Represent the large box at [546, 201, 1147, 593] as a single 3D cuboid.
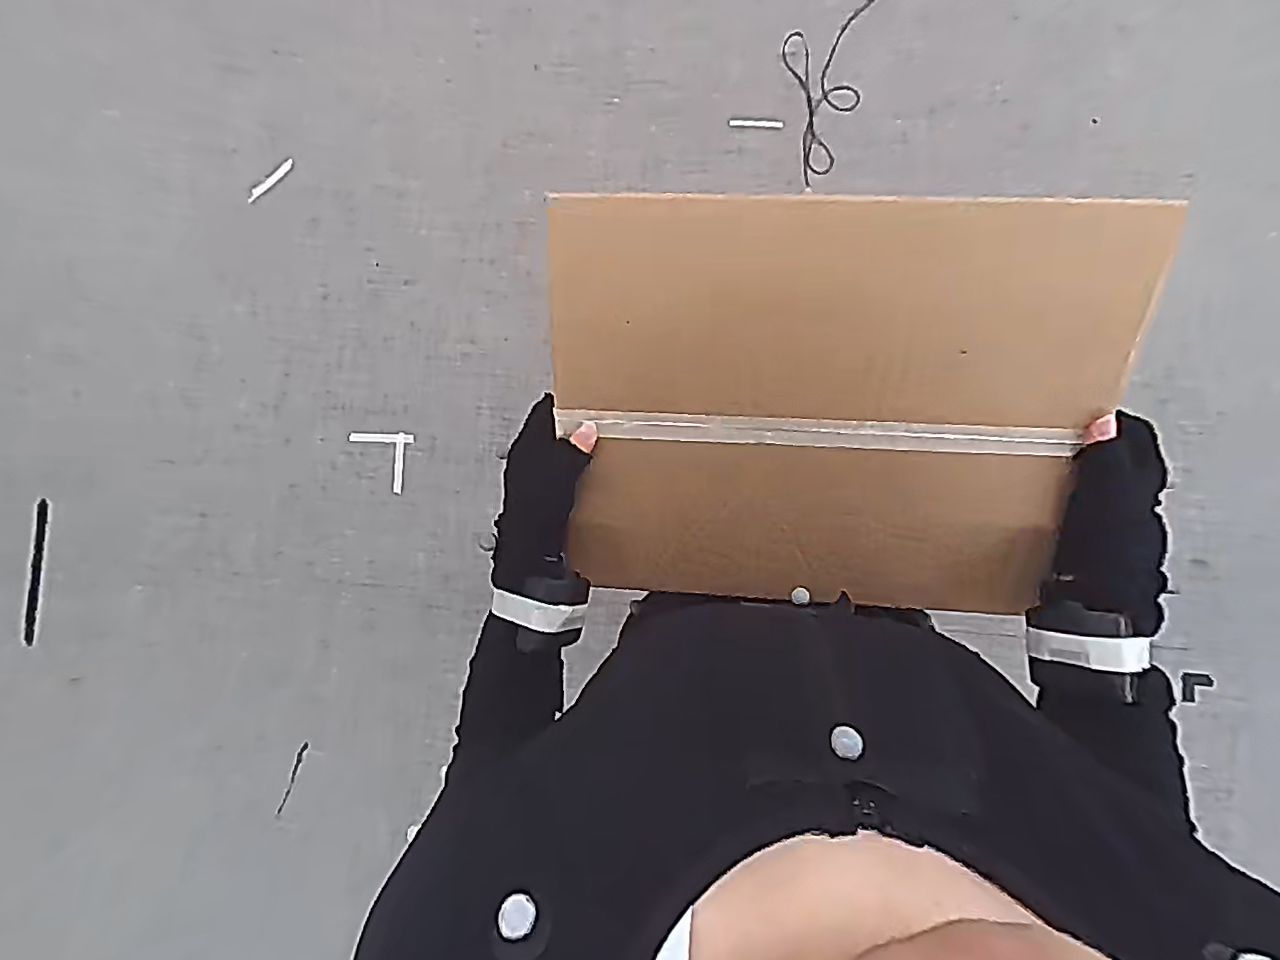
[{"bbox_3d":[0.146,-0.108,0.560,0.408,0.320,0.320,3,115,4],"label":"large box"}]
